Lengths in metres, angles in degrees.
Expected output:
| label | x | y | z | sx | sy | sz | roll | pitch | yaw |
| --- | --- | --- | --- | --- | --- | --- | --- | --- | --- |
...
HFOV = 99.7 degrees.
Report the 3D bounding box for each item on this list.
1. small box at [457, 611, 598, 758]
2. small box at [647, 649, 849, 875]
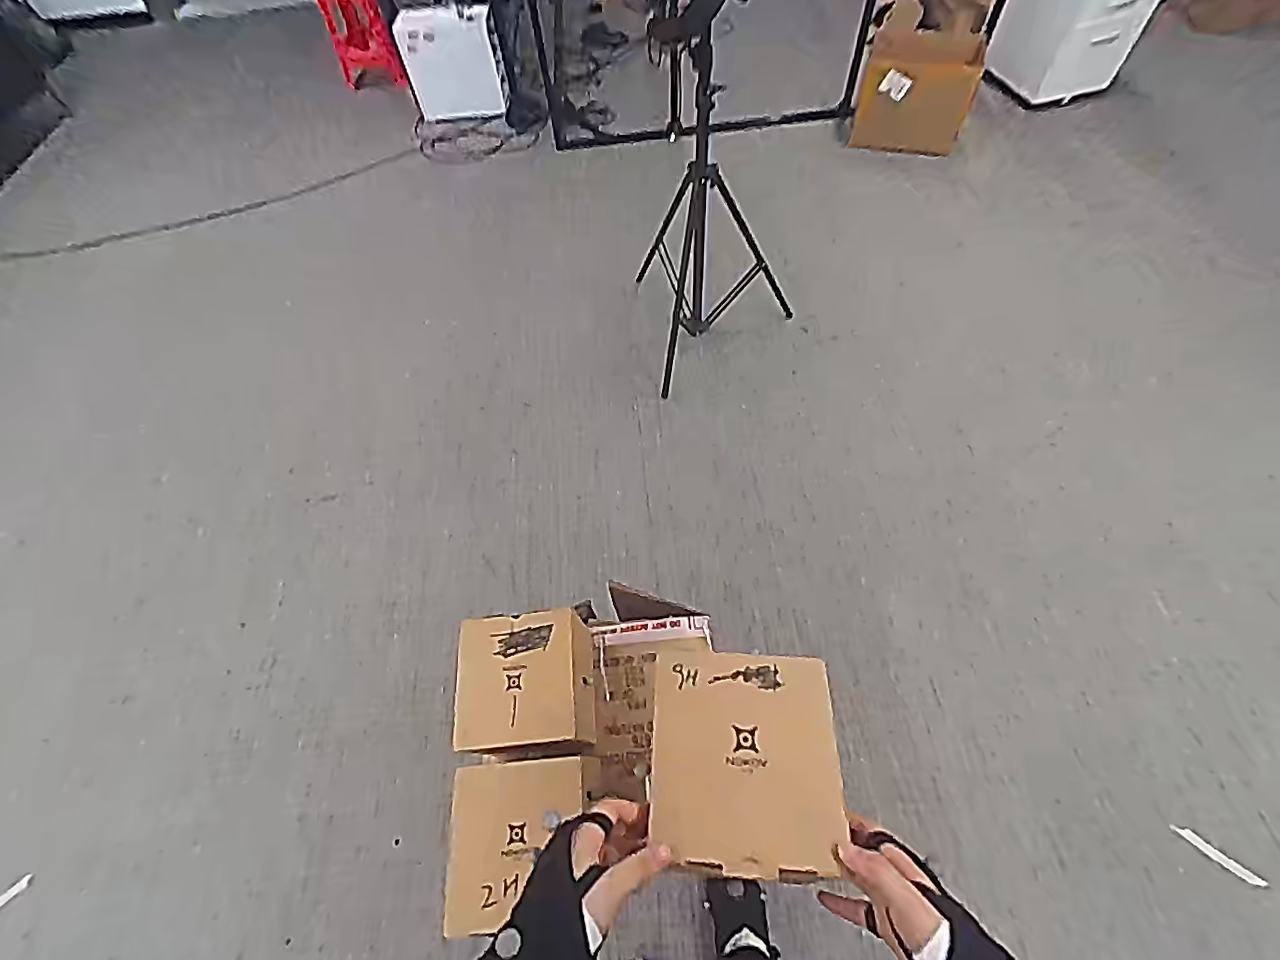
| label | x | y | z | sx | sy | sz | roll | pitch | yaw |
| --- | --- | --- | --- | --- | --- | --- | --- | --- | --- |
| small box | -0.159 | 0.312 | 0.814 | 0.168 | 0.176 | 0.179 | -8 | 61 | 3 |
| small box | 0.095 | 0.289 | 0.549 | 0.168 | 0.176 | 0.179 | 2 | 53 | 3 |
